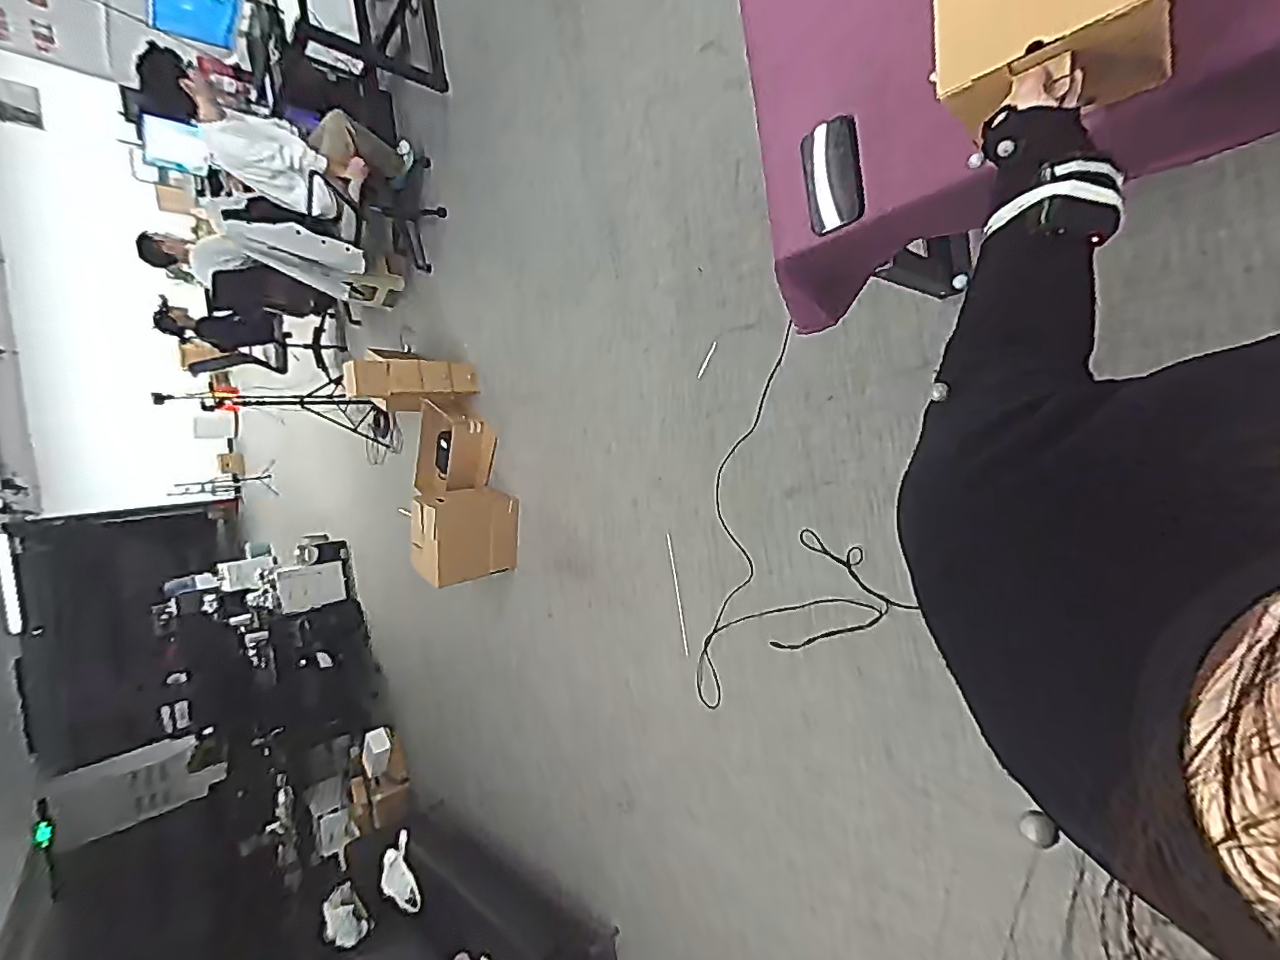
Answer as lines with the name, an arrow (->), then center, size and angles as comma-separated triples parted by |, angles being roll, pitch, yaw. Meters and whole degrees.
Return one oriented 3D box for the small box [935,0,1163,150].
small box -> 0.414, -0.479, 0.548 | 0.168, 0.176, 0.179 | 0, 96, 45
